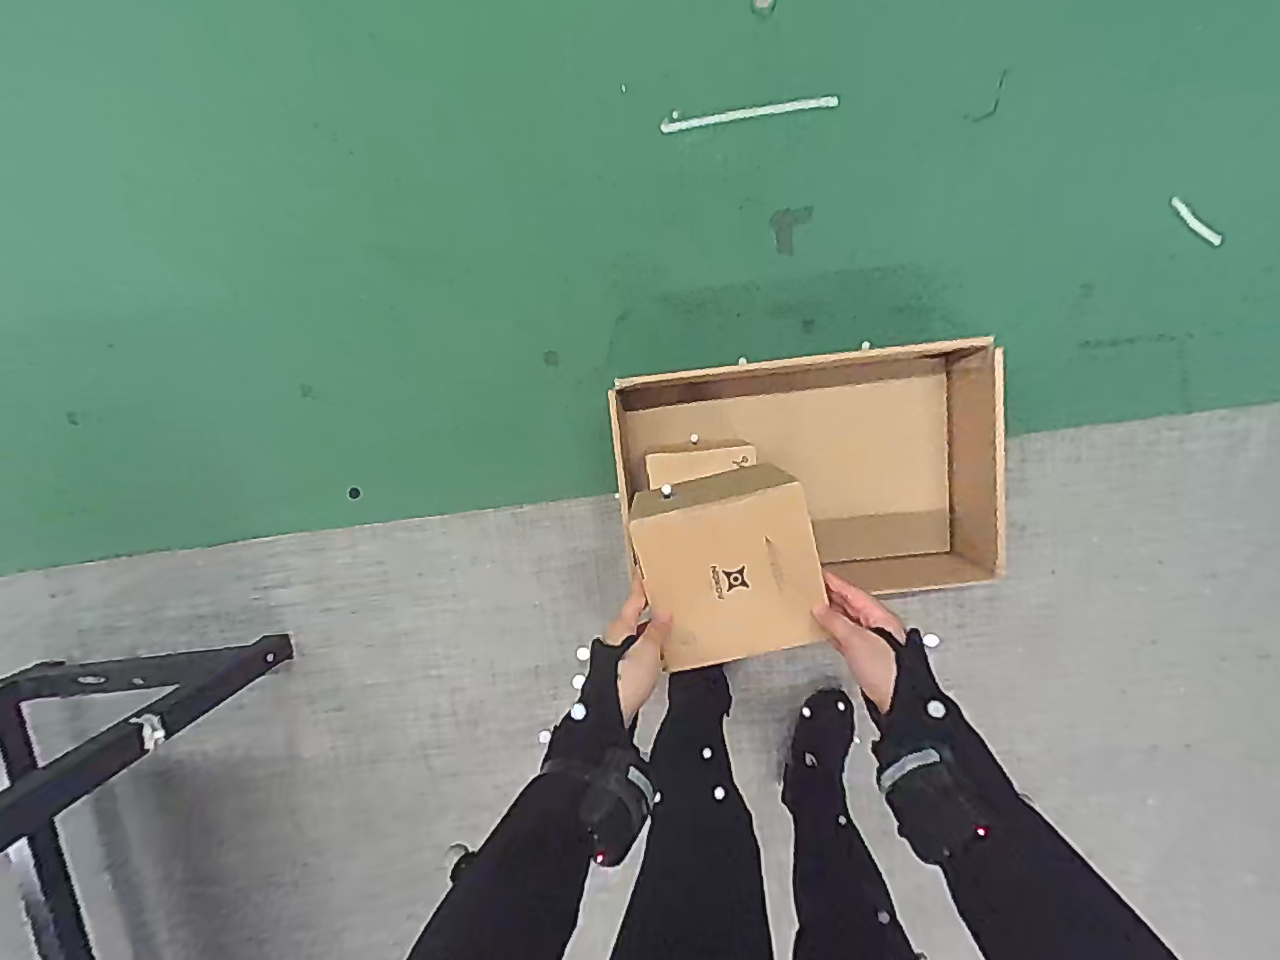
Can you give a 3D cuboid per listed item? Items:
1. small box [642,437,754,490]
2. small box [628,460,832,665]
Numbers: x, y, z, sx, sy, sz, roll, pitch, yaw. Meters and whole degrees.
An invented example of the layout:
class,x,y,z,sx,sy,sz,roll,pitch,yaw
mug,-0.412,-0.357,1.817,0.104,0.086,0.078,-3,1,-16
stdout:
class,x,y,z,sx,sy,sz,roll,pitch,yaw
small box,0.100,0.017,0.933,0.179,0.176,0.168,-4,99,3
small box,0.093,0.081,0.615,0.179,0.176,0.168,-14,99,3
